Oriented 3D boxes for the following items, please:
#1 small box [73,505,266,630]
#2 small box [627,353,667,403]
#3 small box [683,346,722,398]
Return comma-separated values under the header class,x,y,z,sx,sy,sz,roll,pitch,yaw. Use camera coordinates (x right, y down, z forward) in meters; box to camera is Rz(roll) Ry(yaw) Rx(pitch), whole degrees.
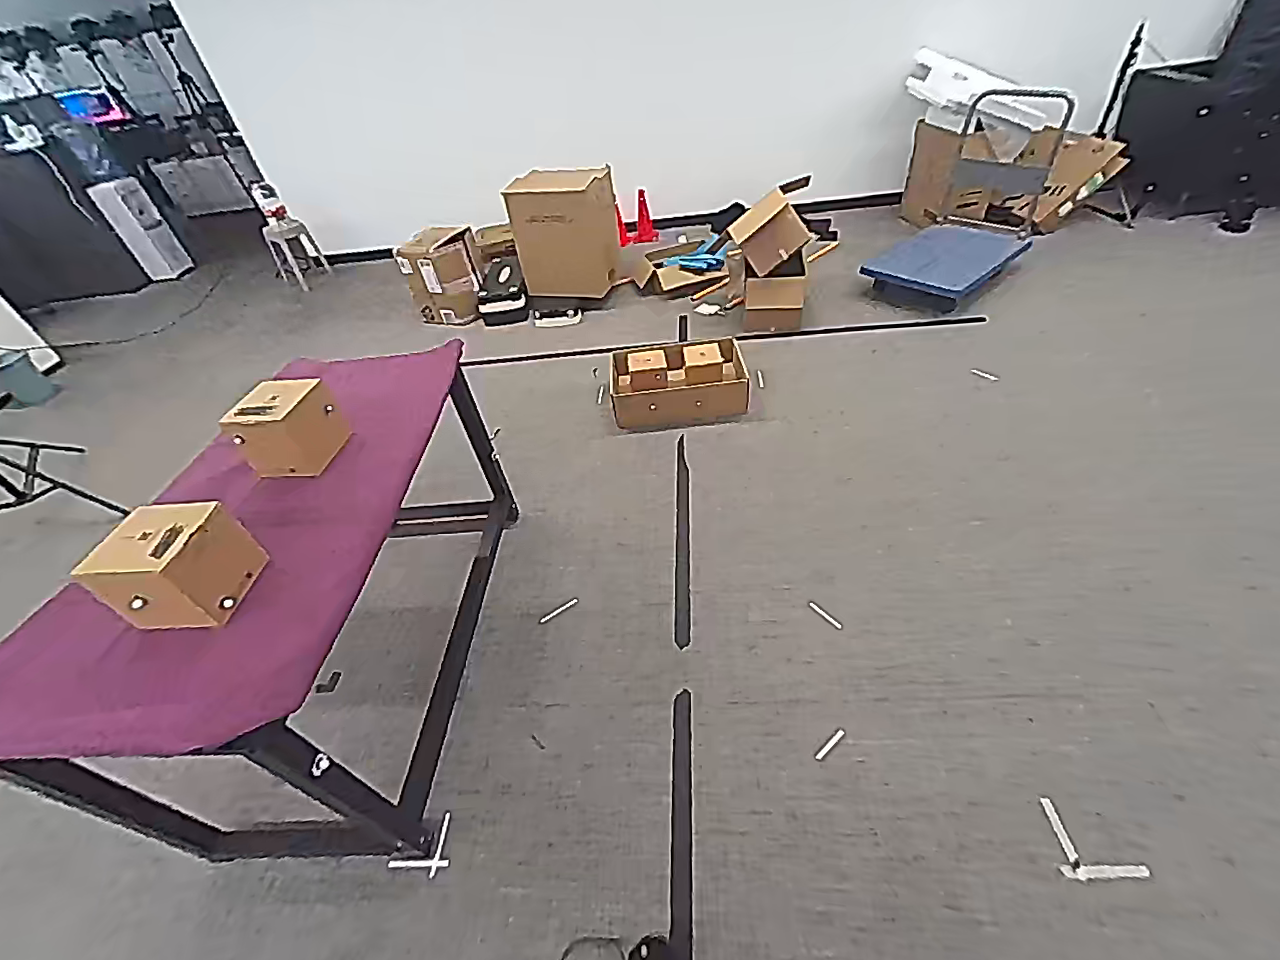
class,x,y,z,sx,sy,sz,roll,pitch,yaw
small box,-0.857,0.166,1.011,0.179,0.176,0.168,-4,42,6
small box,0.037,-0.483,2.573,0.179,0.176,0.168,-7,41,1
small box,0.295,-0.512,2.563,0.168,0.176,0.179,-7,42,3
